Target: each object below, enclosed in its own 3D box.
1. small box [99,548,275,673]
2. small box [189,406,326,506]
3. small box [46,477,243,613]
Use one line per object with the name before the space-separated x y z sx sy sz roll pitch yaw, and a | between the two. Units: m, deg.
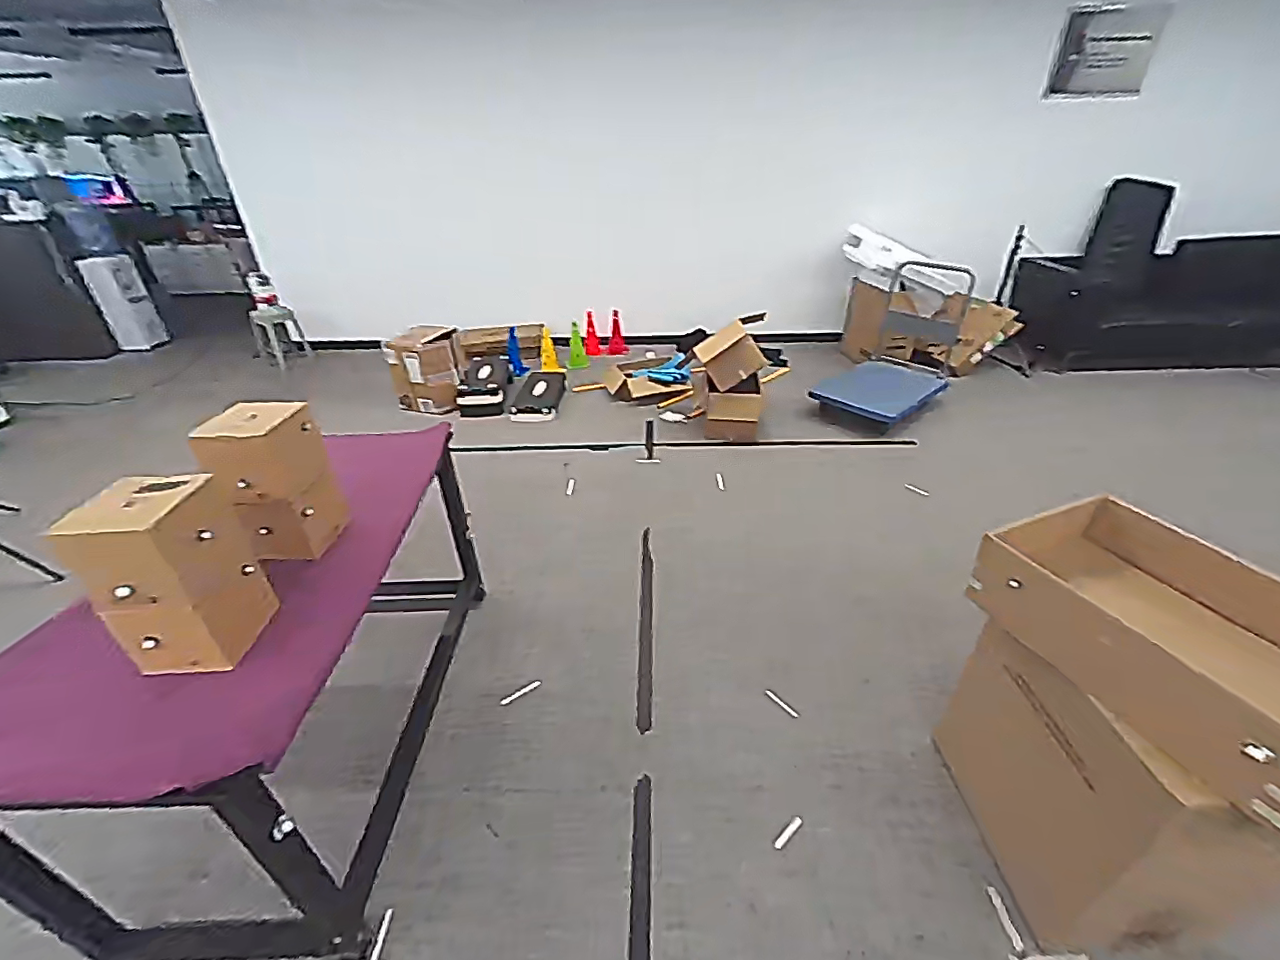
small box | -0.847 0.253 1.038 0.168 0.176 0.179 -3 31 -2
small box | -0.845 -0.058 1.222 0.168 0.176 0.179 -1 32 3
small box | -0.847 0.111 0.954 0.168 0.176 0.179 -3 32 -2
